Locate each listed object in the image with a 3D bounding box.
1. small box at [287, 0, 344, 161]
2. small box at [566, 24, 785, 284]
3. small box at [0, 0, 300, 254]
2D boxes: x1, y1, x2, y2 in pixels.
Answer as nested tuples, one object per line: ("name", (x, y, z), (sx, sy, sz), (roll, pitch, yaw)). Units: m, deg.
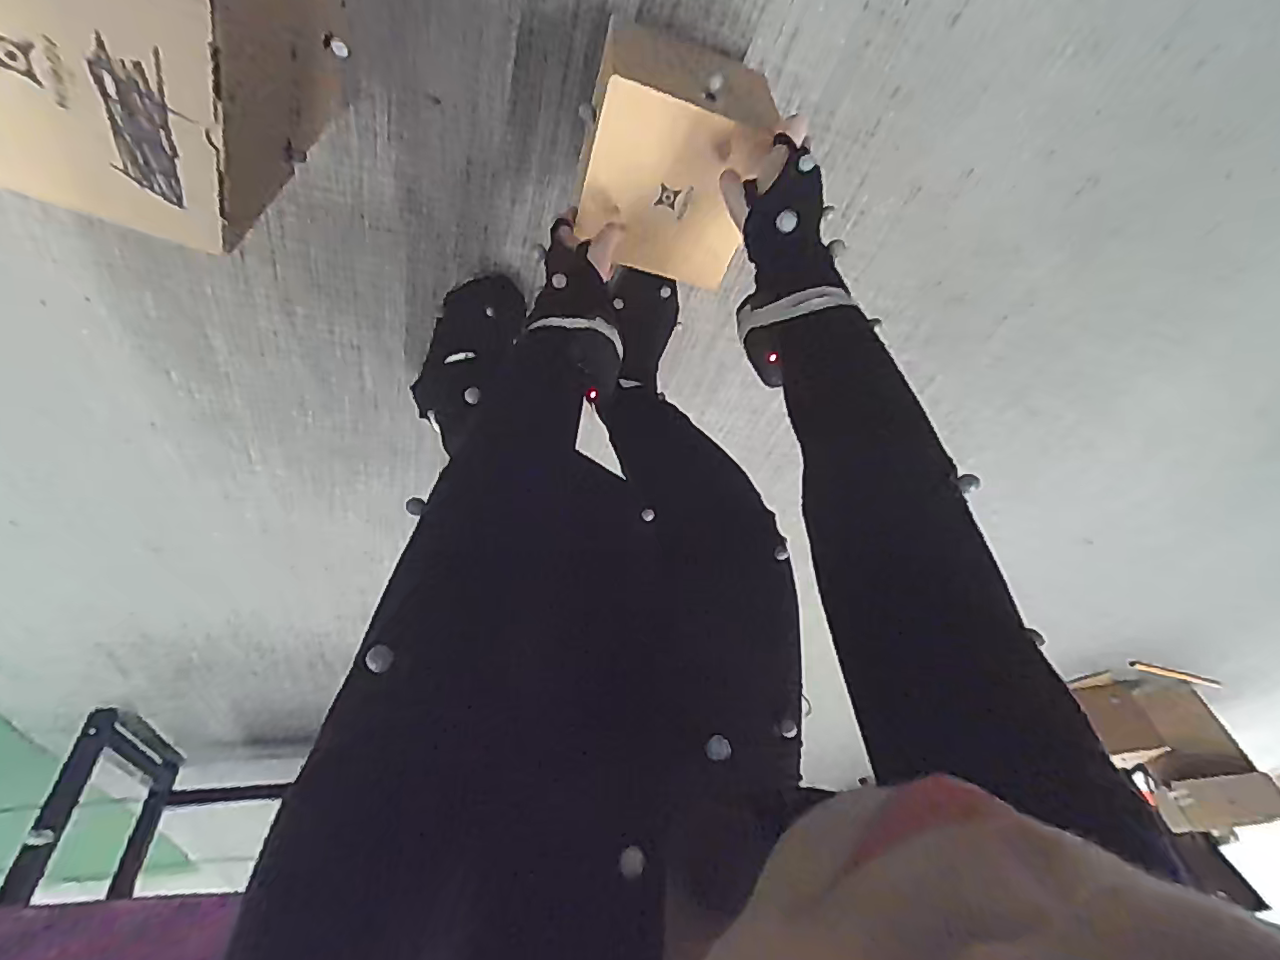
("small box", (-0.366, -0.419, 0.464), (0.179, 0.176, 0.168), (12, 133, -24))
("small box", (0.024, -0.349, 0.583), (0.179, 0.176, 0.168), (8, 143, -17))
("small box", (-0.348, -0.292, 0.359), (0.179, 0.176, 0.168), (15, 133, -23))
